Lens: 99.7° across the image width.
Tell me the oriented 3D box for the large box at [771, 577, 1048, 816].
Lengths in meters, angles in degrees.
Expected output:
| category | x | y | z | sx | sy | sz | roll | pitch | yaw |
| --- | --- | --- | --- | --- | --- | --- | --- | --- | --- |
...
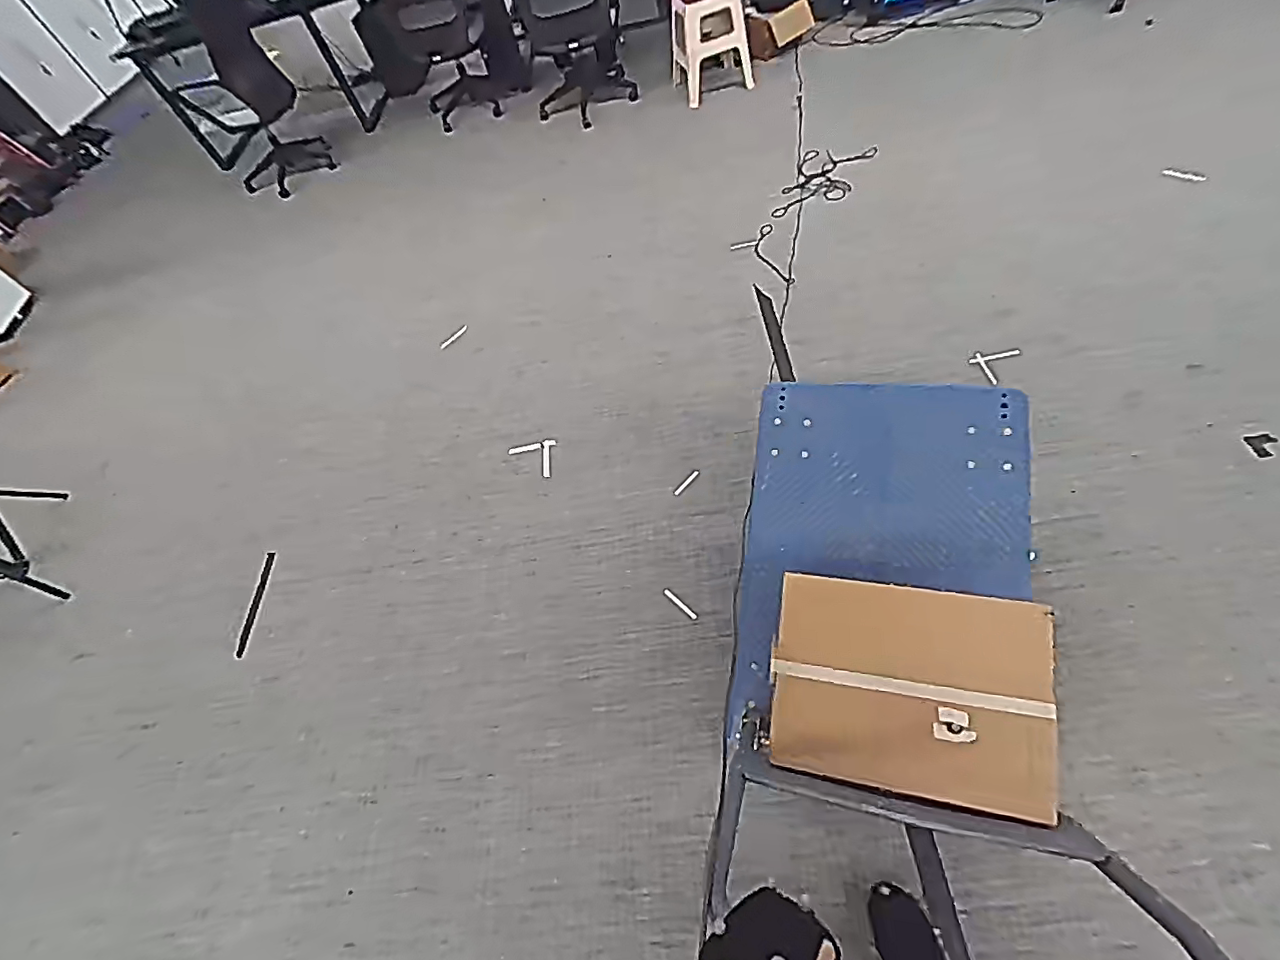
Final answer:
| category | x | y | z | sx | sy | sz | roll | pitch | yaw |
| --- | --- | --- | --- | --- | --- | --- | --- | --- | --- |
| large box | 0.462 | 0.372 | 1.016 | 0.408 | 0.320 | 0.320 | 5 | 77 | 16 |
